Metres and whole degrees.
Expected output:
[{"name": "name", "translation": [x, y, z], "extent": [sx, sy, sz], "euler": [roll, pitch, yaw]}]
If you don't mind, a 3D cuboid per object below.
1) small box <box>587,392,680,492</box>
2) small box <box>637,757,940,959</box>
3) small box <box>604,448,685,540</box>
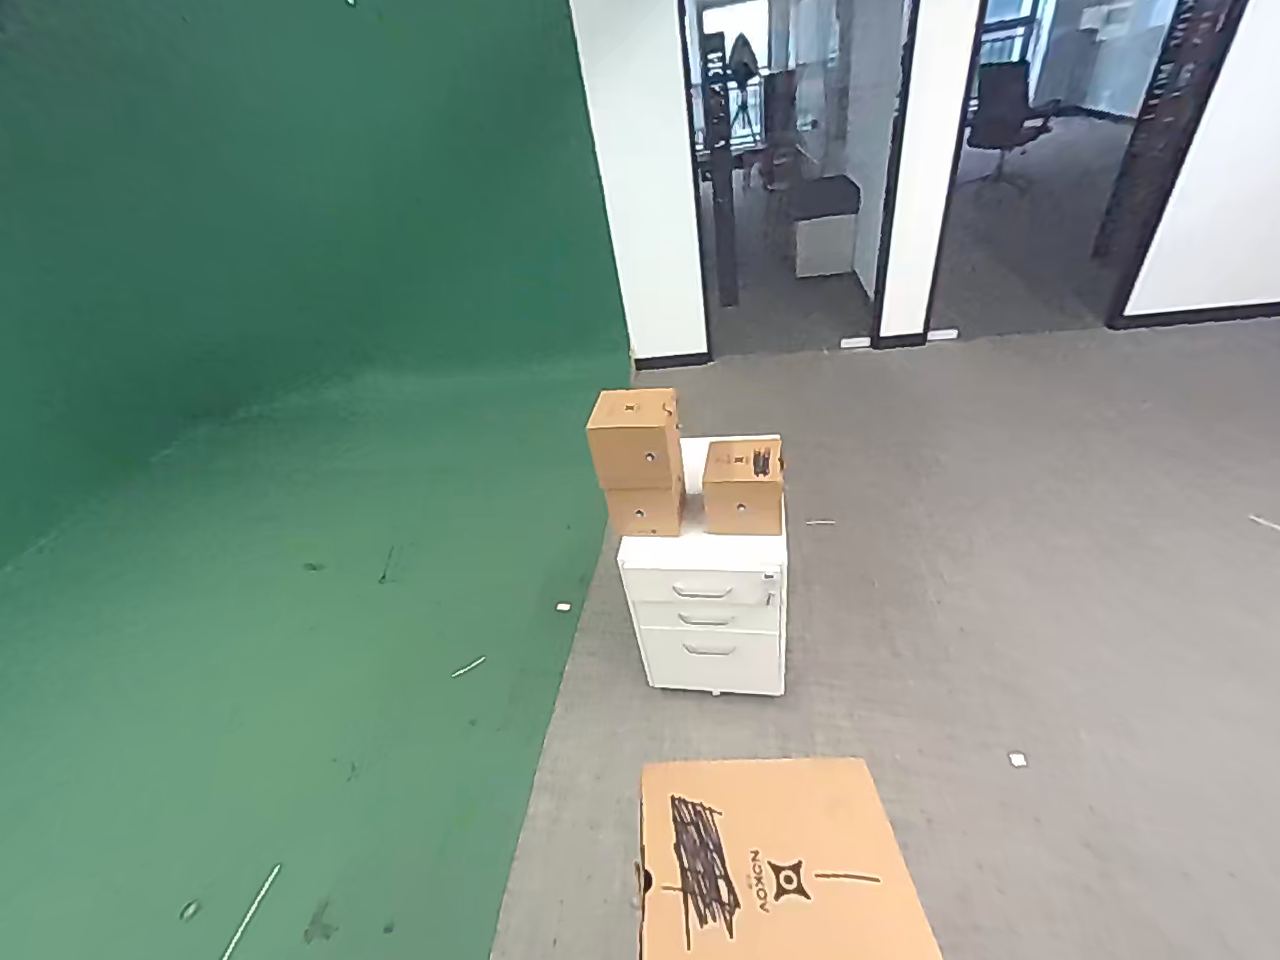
[{"name": "small box", "translation": [-0.006, -0.085, 1.239], "extent": [0.179, 0.176, 0.168], "euler": [-1, 37, 12]}, {"name": "small box", "translation": [0.089, 0.328, 0.388], "extent": [0.179, 0.176, 0.168], "euler": [-1, 27, 1]}, {"name": "small box", "translation": [0.019, 0.033, 1.349], "extent": [0.168, 0.176, 0.179], "euler": [1, 38, 12]}]
